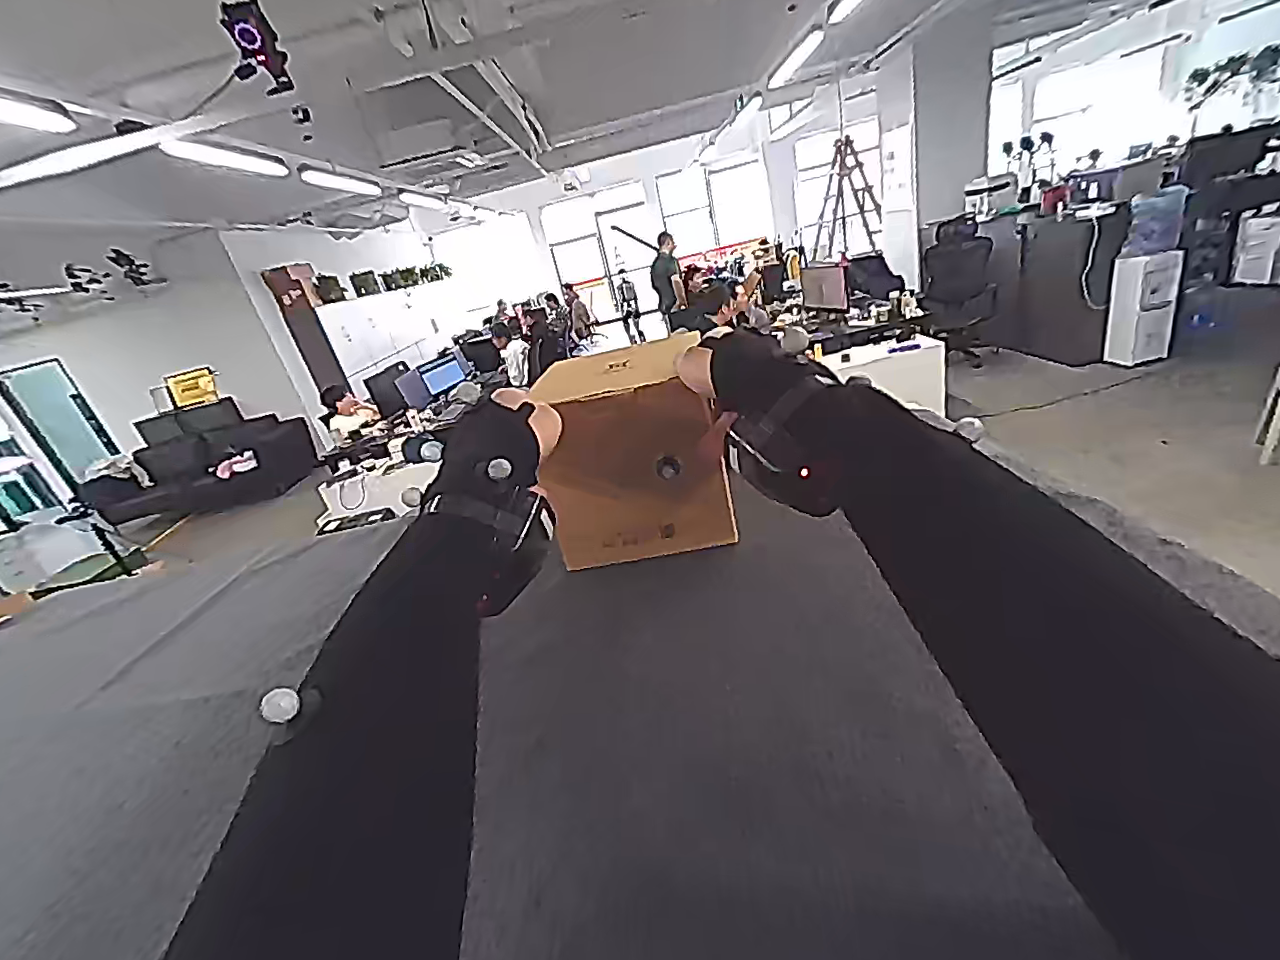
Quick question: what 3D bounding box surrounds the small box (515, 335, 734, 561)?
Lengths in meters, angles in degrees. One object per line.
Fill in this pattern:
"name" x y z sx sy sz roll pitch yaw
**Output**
"small box" -0.004 -0.031 0.546 0.168 0.176 0.179 -10 25 8
